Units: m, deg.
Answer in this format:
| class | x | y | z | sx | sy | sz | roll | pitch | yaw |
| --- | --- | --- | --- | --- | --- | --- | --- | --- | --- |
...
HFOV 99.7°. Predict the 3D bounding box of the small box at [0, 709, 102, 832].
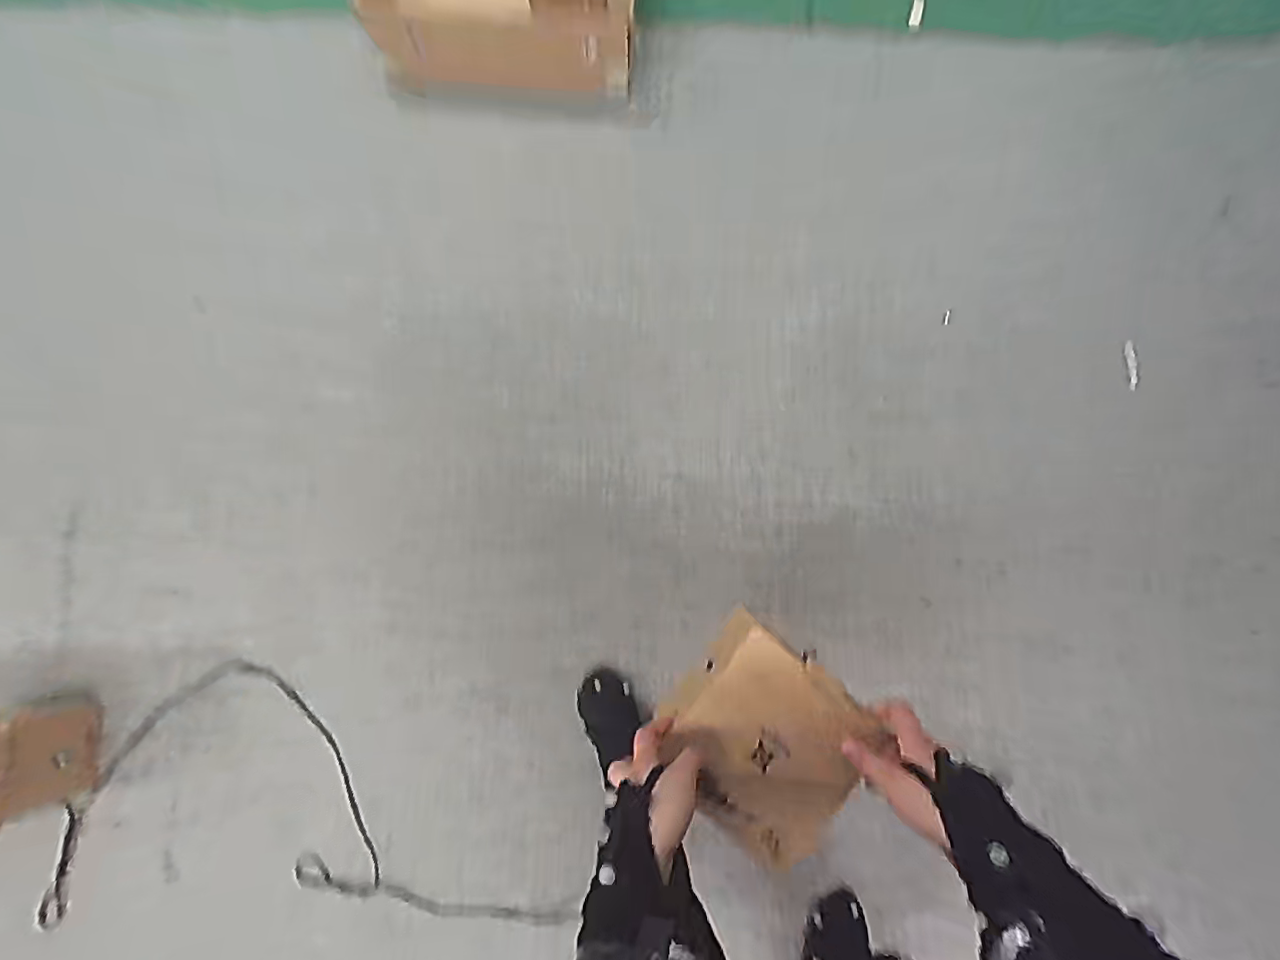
| class | x | y | z | sx | sy | sz | roll | pitch | yaw |
| --- | --- | --- | --- | --- | --- | --- | --- | --- | --- |
| small box | -1.138 | 0.522 | 0.975 | 0.179 | 0.176 | 0.168 | -6 | 78 | -1 |
